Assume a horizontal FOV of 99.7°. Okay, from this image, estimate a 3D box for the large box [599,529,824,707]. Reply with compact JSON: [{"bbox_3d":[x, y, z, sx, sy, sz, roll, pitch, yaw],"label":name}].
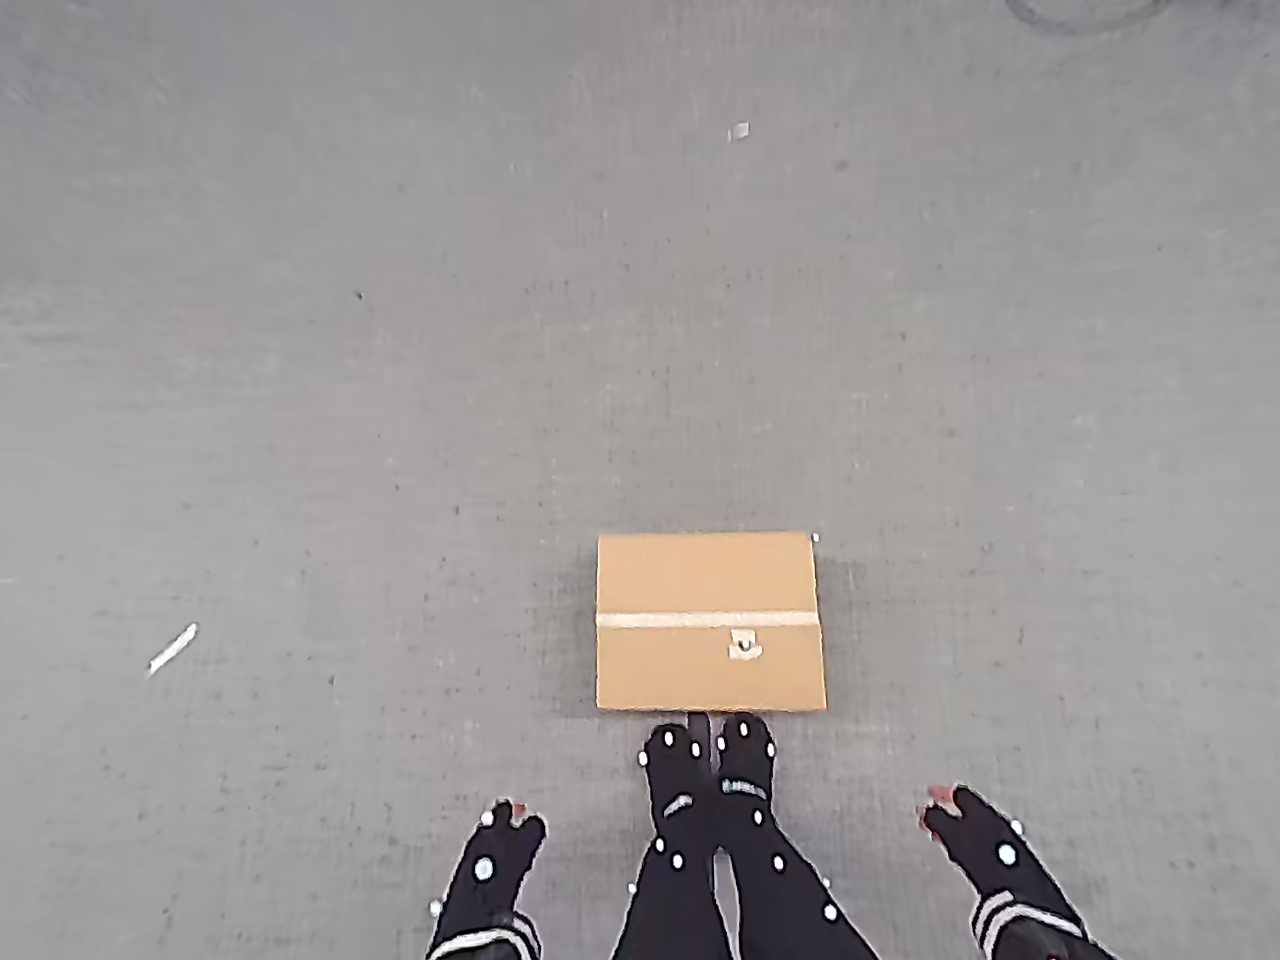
[{"bbox_3d":[0.131,0.283,1.136,0.408,0.320,0.320,-2,78,3],"label":"large box"}]
